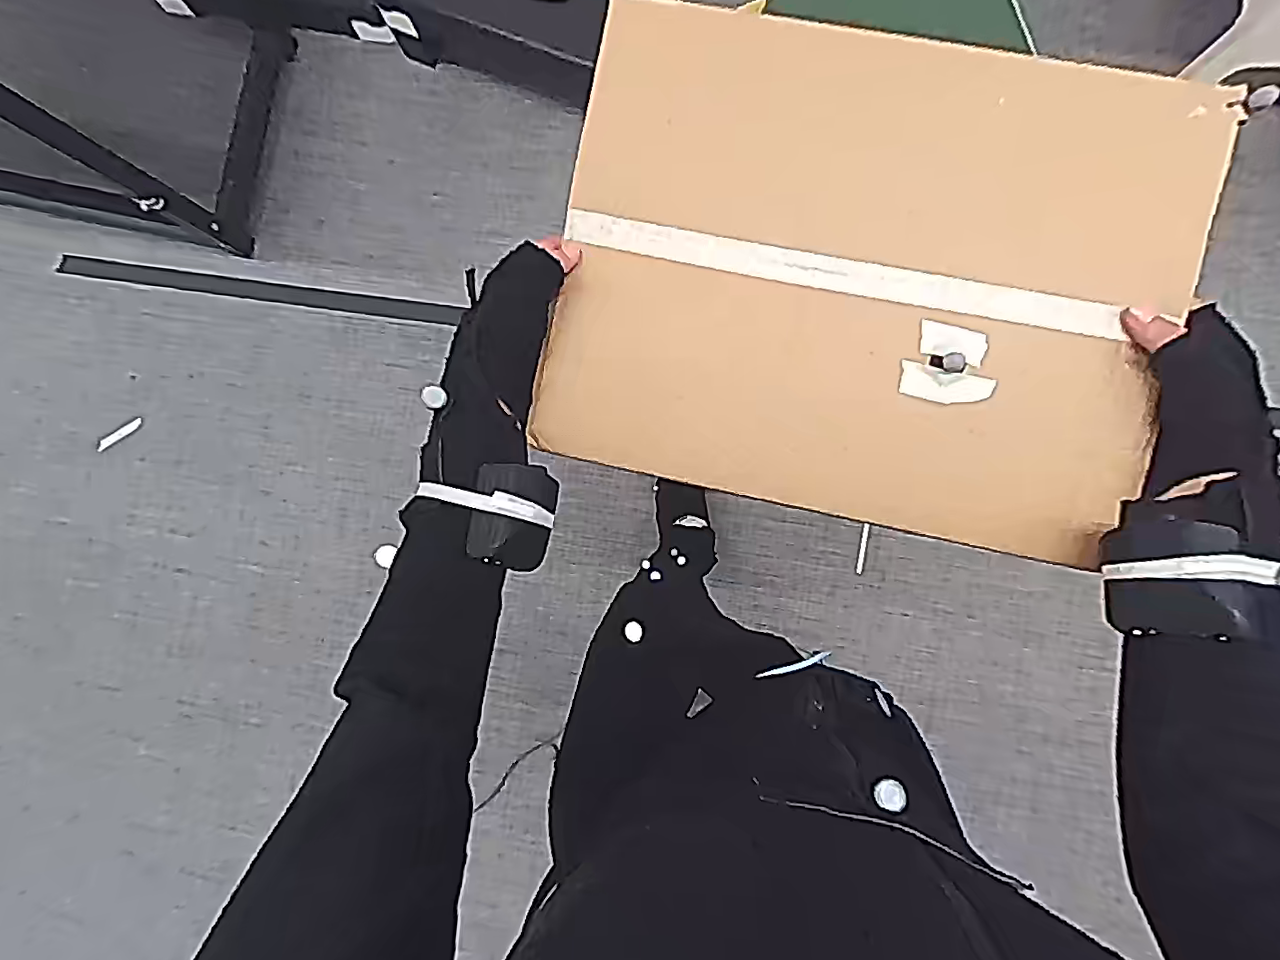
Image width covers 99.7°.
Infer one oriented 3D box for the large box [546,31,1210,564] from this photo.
[{"bbox_3d":[0.160,-0.135,0.521,0.408,0.320,0.320,12,95,3],"label":"large box"}]
